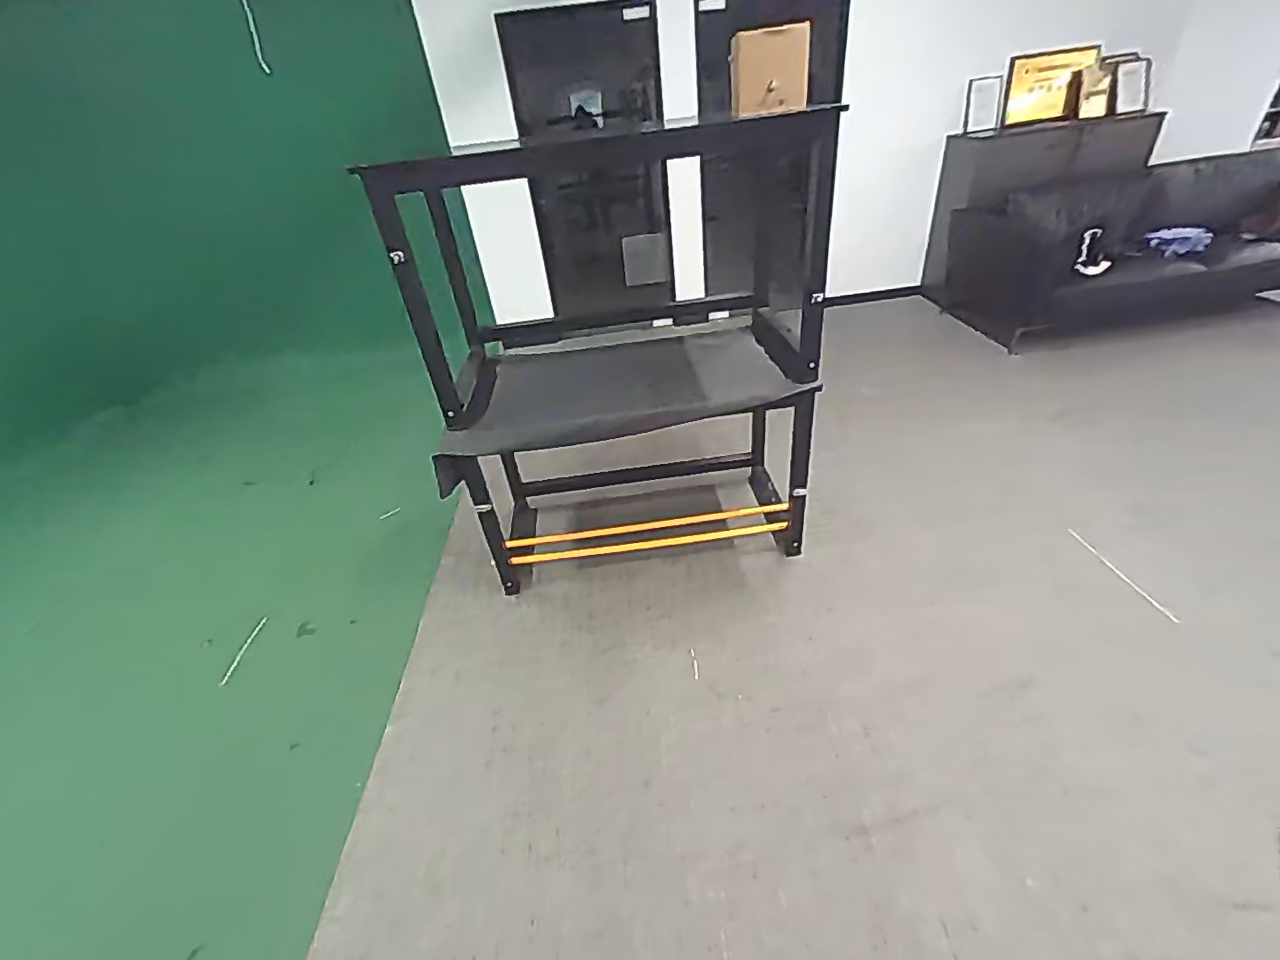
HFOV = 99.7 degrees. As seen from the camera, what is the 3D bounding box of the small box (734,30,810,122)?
[{"bbox_3d":[0.329,-1.021,1.378,0.168,0.176,0.179,-4,34,6],"label":"small box"}]
